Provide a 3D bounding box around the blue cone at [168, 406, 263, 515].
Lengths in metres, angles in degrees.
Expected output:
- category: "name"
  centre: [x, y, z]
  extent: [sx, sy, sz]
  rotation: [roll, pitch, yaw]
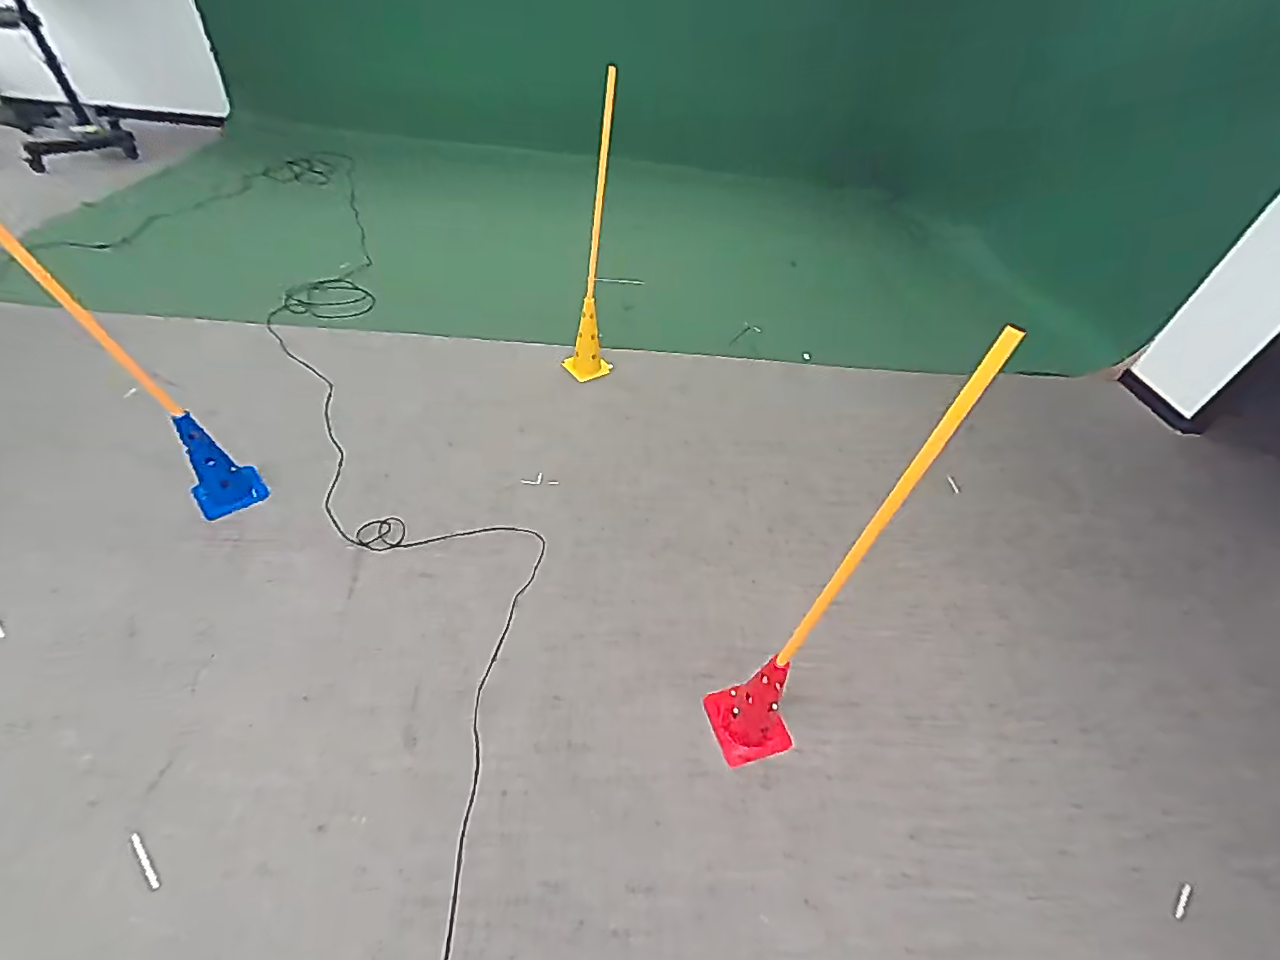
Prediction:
- category: "blue cone"
  centre: [-1.421, -0.079, 1.764]
  extent: [0.193, 0.380, 0.192]
  rotation: [-34, 59, -32]
